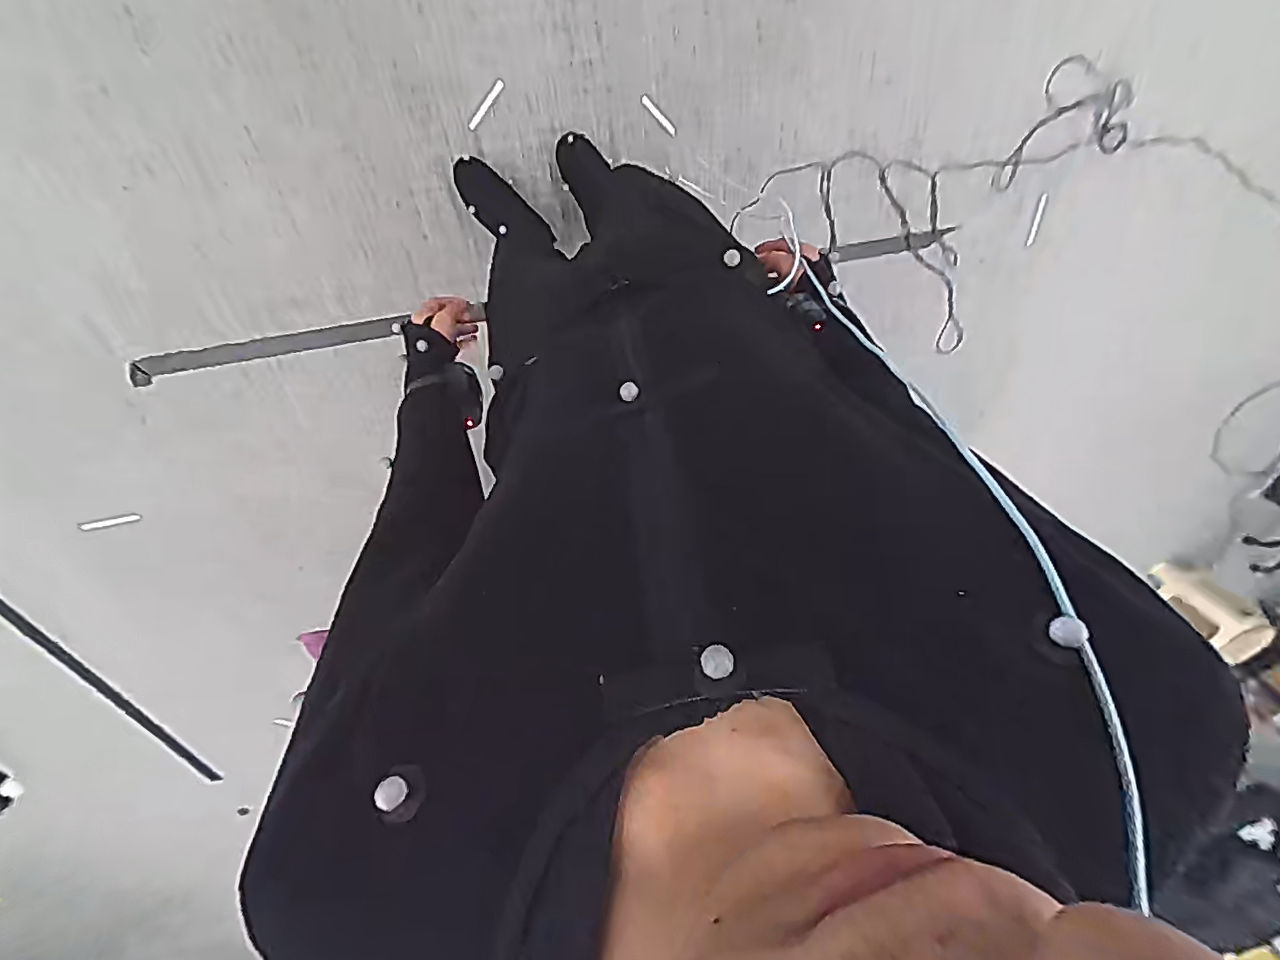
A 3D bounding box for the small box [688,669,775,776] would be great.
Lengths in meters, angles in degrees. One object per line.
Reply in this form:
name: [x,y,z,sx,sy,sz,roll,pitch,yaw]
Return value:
small box: [0.223,0.593,1.343,0.168,0.176,0.179,-13,127,-5]
